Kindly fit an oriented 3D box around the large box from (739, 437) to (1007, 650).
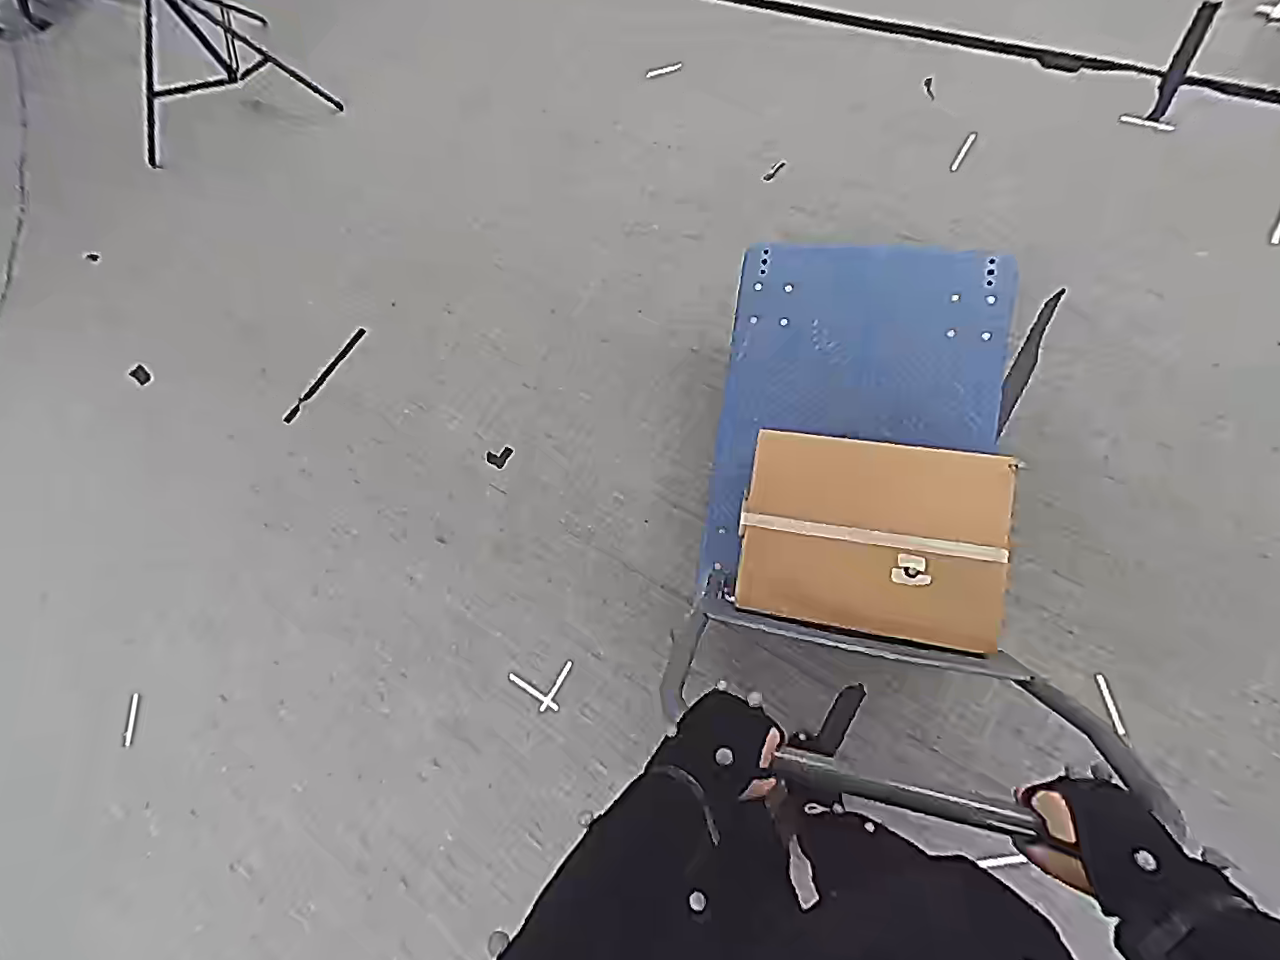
[{"bbox_3d":[0.410,0.112,1.049,0.408,0.320,0.320,8,87,12],"label":"large box"}]
